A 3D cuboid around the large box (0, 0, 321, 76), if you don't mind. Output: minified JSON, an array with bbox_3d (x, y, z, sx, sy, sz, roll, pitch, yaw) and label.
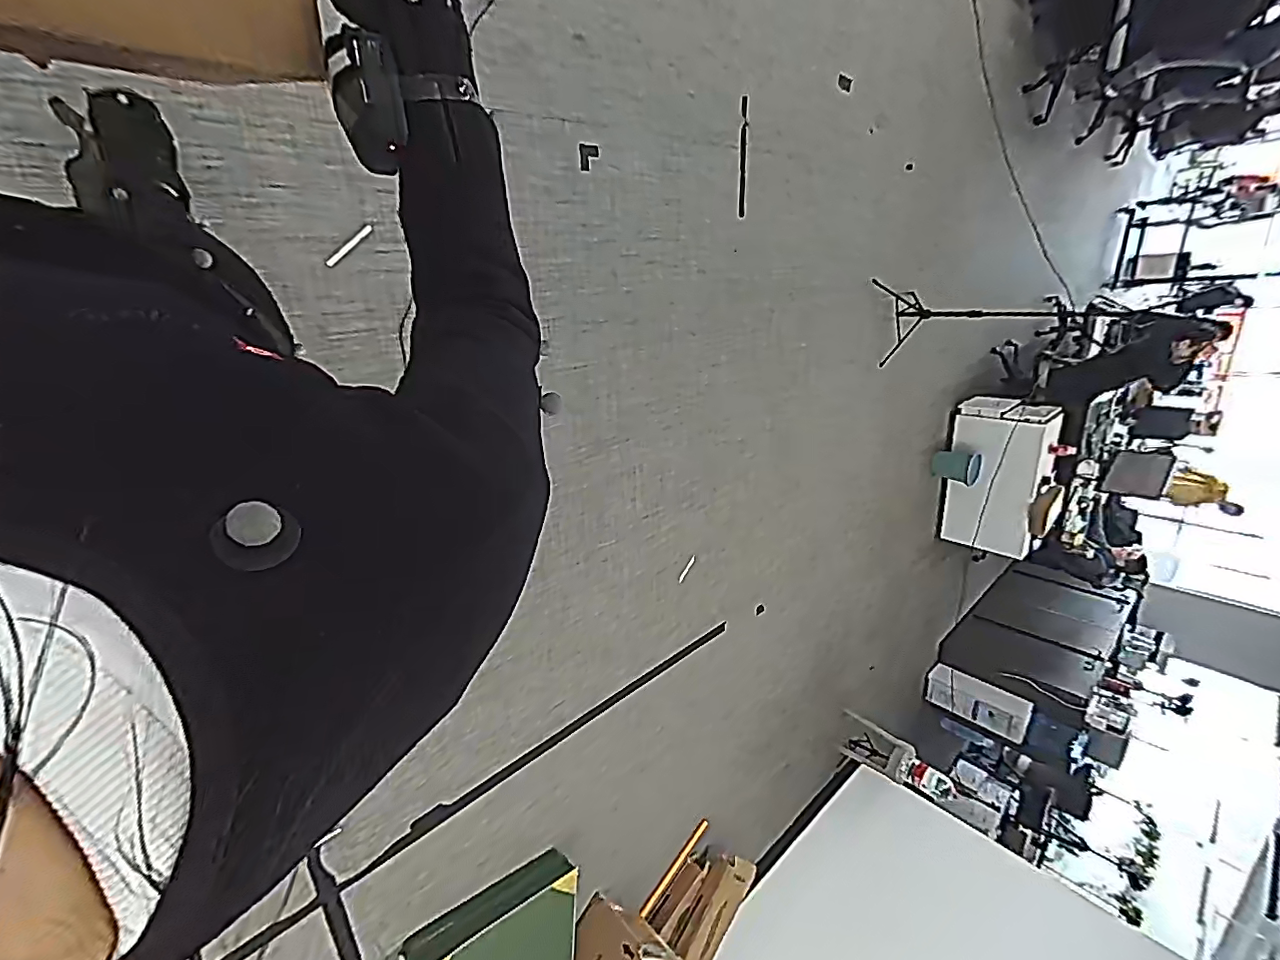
[{"bbox_3d":[-0.435,-0.400,0.239,0.408,0.320,0.320,-20,131,-38],"label":"large box"}]
